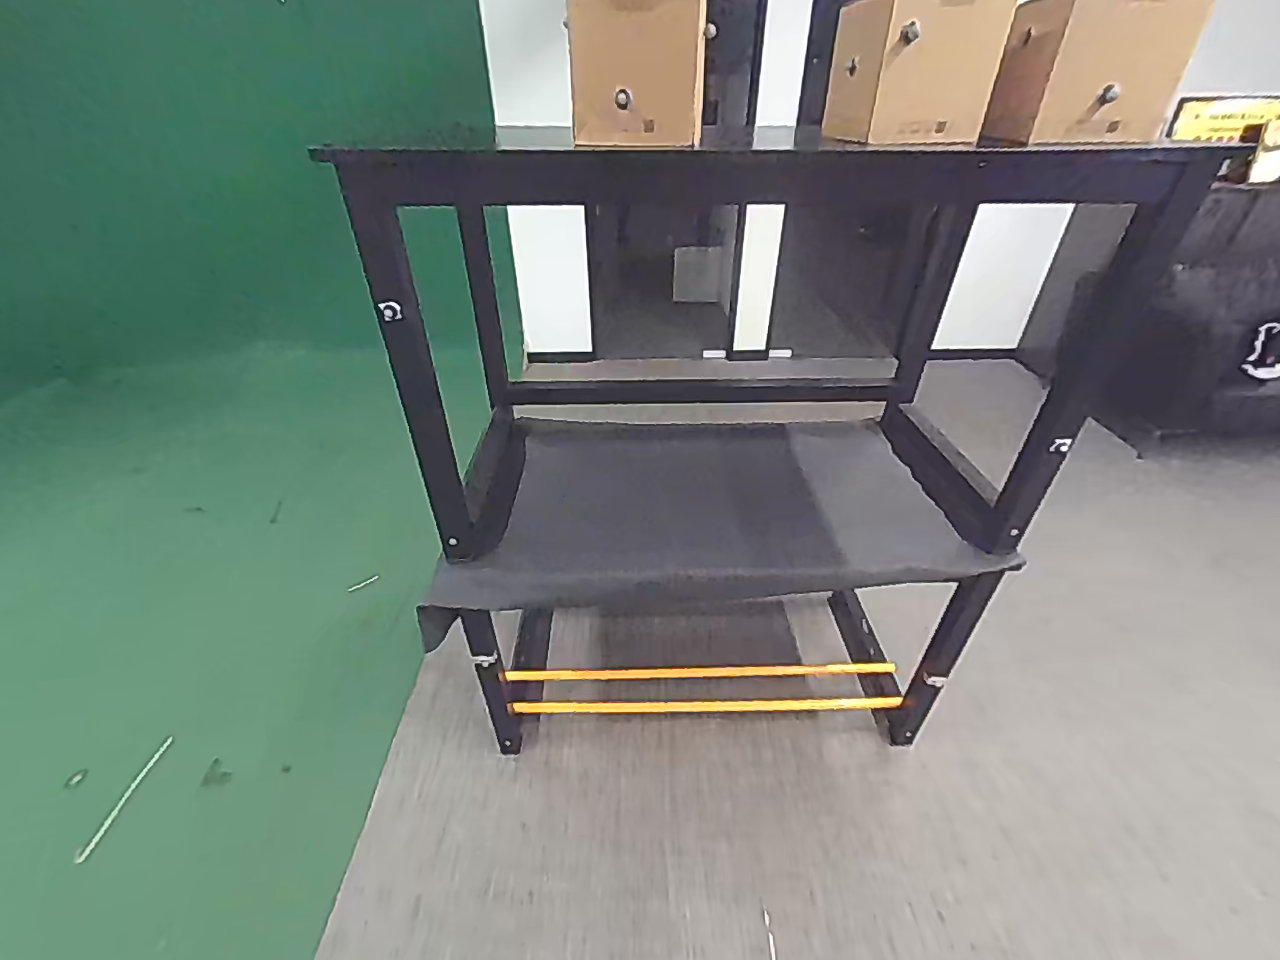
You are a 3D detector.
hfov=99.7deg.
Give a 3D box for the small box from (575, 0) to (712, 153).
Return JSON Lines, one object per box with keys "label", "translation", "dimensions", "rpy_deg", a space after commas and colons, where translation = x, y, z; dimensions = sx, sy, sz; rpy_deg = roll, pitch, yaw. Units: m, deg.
{"label": "small box", "translation": [0.009, -0.567, 0.758], "dimensions": [0.168, 0.176, 0.179], "rpy_deg": [5, 36, 6]}
